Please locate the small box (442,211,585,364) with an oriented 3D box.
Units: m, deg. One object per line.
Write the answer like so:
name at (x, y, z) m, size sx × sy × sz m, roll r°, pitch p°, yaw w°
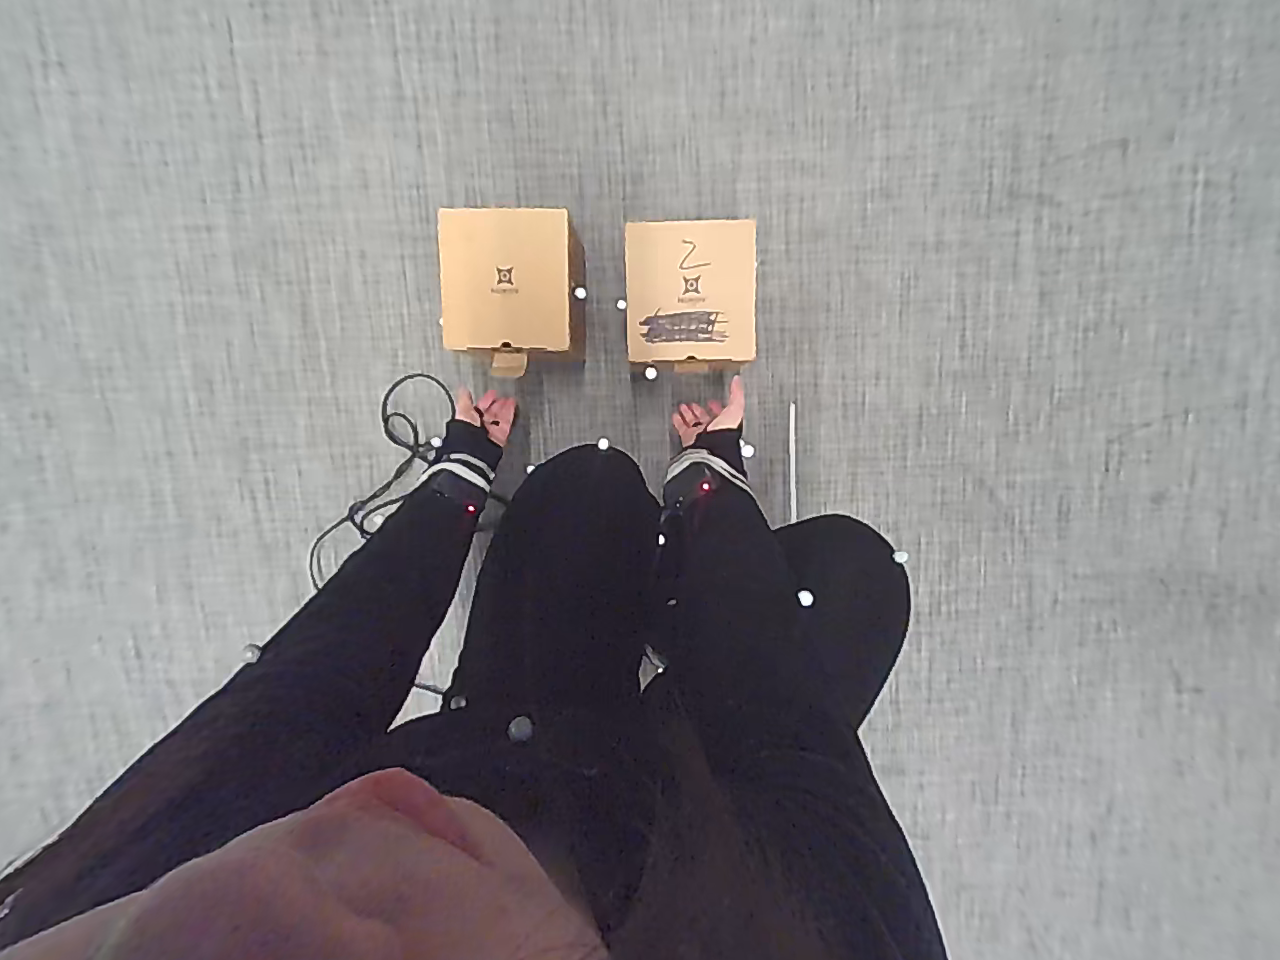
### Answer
small box at (-0.171, -0.263, 0.773) m, size 0.168 × 0.176 × 0.179 m, roll 1°, pitch 99°, yaw 1°
